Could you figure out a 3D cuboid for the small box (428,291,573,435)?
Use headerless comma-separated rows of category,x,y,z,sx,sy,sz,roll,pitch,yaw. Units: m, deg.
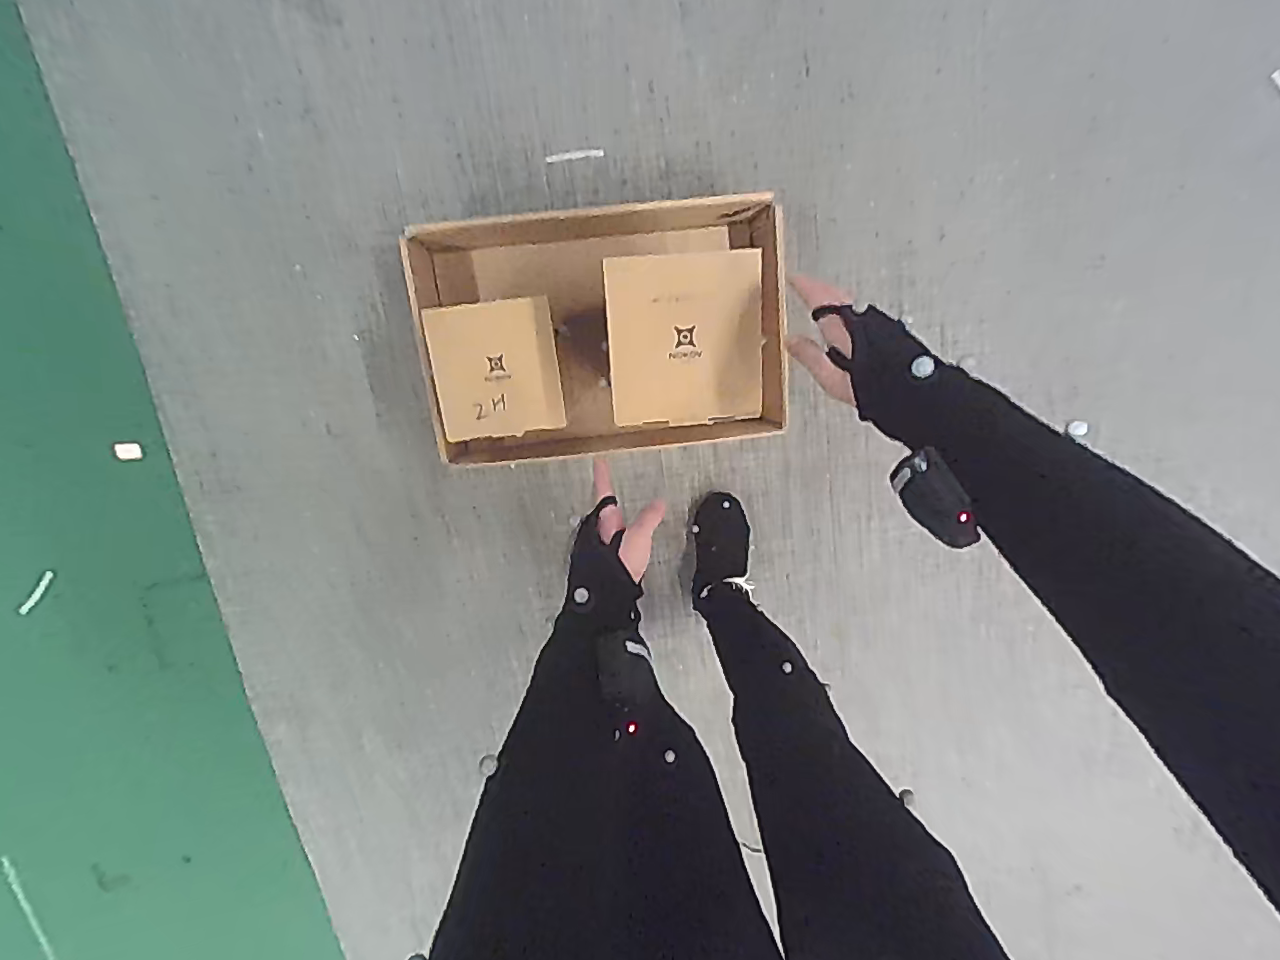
small box,-0.193,-0.170,0.796,0.168,0.176,0.179,-8,103,-3

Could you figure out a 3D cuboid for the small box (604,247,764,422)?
small box,0.047,-0.172,0.649,0.168,0.176,0.179,-4,104,-1
